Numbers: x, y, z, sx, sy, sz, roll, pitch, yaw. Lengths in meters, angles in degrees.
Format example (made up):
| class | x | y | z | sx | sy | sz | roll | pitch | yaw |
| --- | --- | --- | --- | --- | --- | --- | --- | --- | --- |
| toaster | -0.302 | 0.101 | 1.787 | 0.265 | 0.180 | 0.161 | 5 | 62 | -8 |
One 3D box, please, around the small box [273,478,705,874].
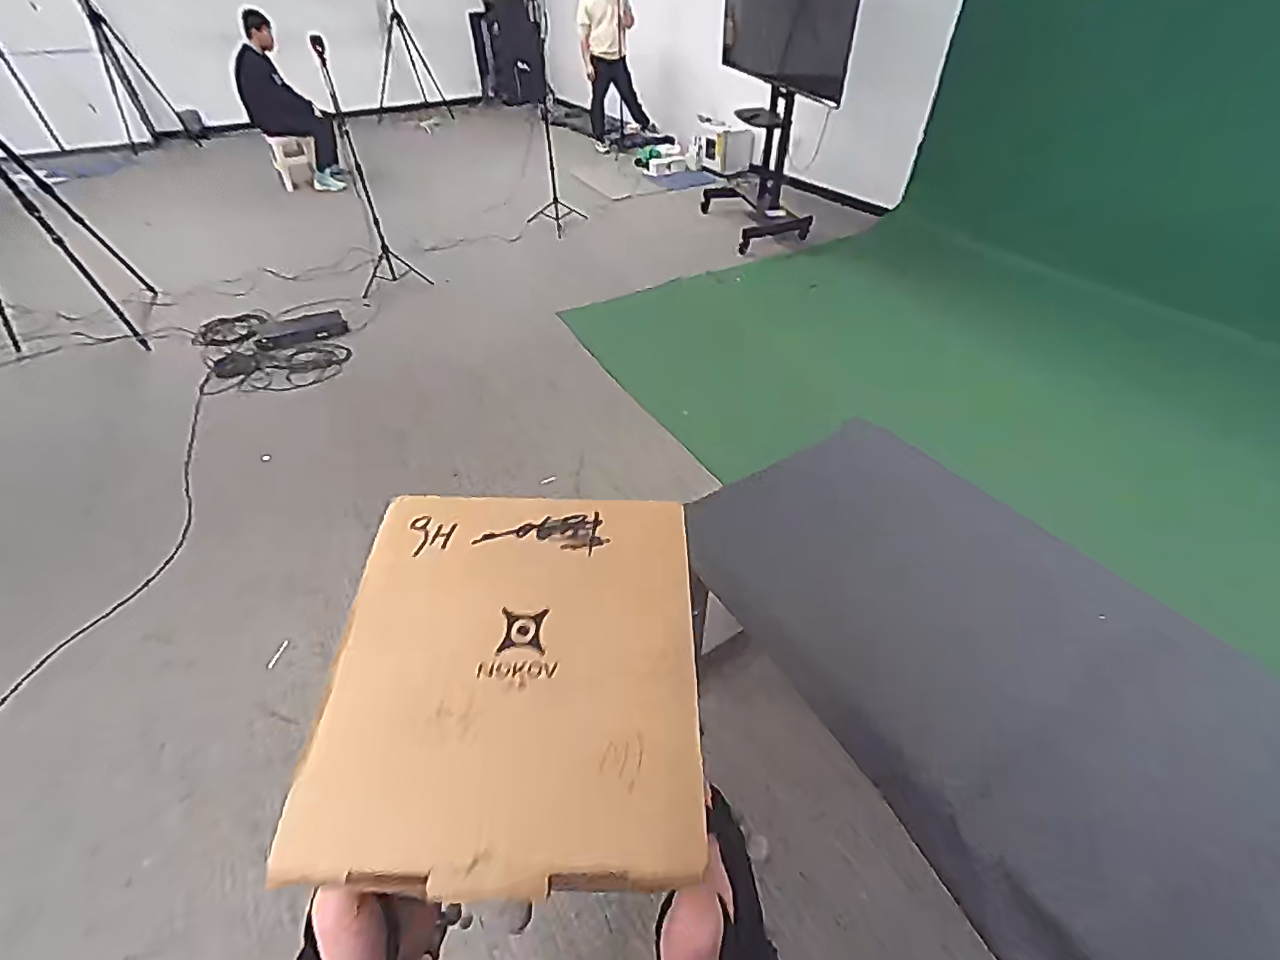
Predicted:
| class | x | y | z | sx | sy | sz | roll | pitch | yaw |
| --- | --- | --- | --- | --- | --- | --- | --- | --- | --- |
| small box | -0.060 | 0.120 | 0.315 | 0.168 | 0.176 | 0.179 | 3 | 52 | -4 |
